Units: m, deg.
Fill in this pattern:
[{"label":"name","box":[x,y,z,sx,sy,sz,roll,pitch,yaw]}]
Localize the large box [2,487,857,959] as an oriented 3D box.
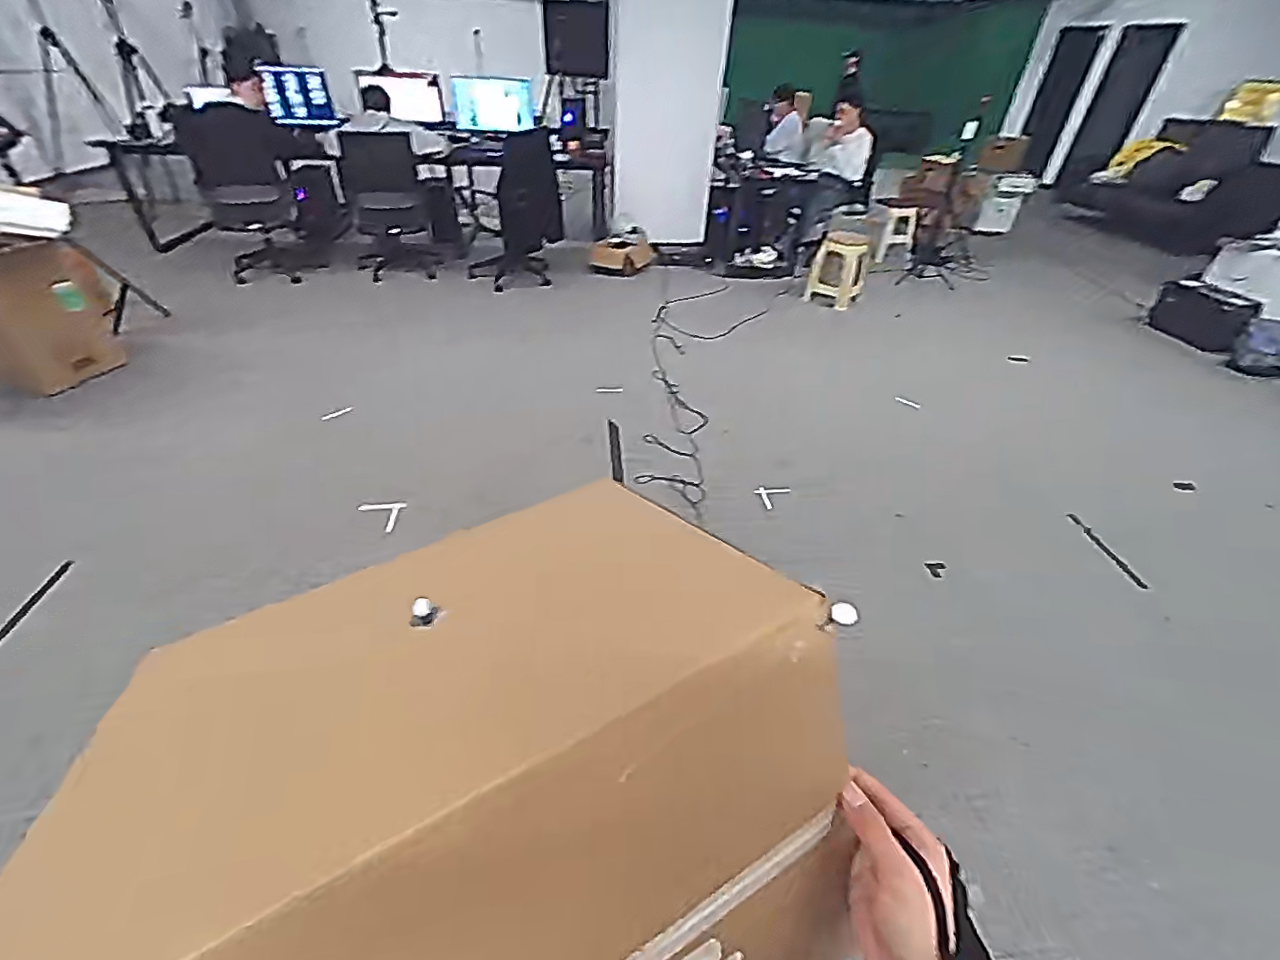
[{"label":"large box","box":[-0.104,0.242,0.427,0.408,0.320,0.320,-22,23,-21]}]
